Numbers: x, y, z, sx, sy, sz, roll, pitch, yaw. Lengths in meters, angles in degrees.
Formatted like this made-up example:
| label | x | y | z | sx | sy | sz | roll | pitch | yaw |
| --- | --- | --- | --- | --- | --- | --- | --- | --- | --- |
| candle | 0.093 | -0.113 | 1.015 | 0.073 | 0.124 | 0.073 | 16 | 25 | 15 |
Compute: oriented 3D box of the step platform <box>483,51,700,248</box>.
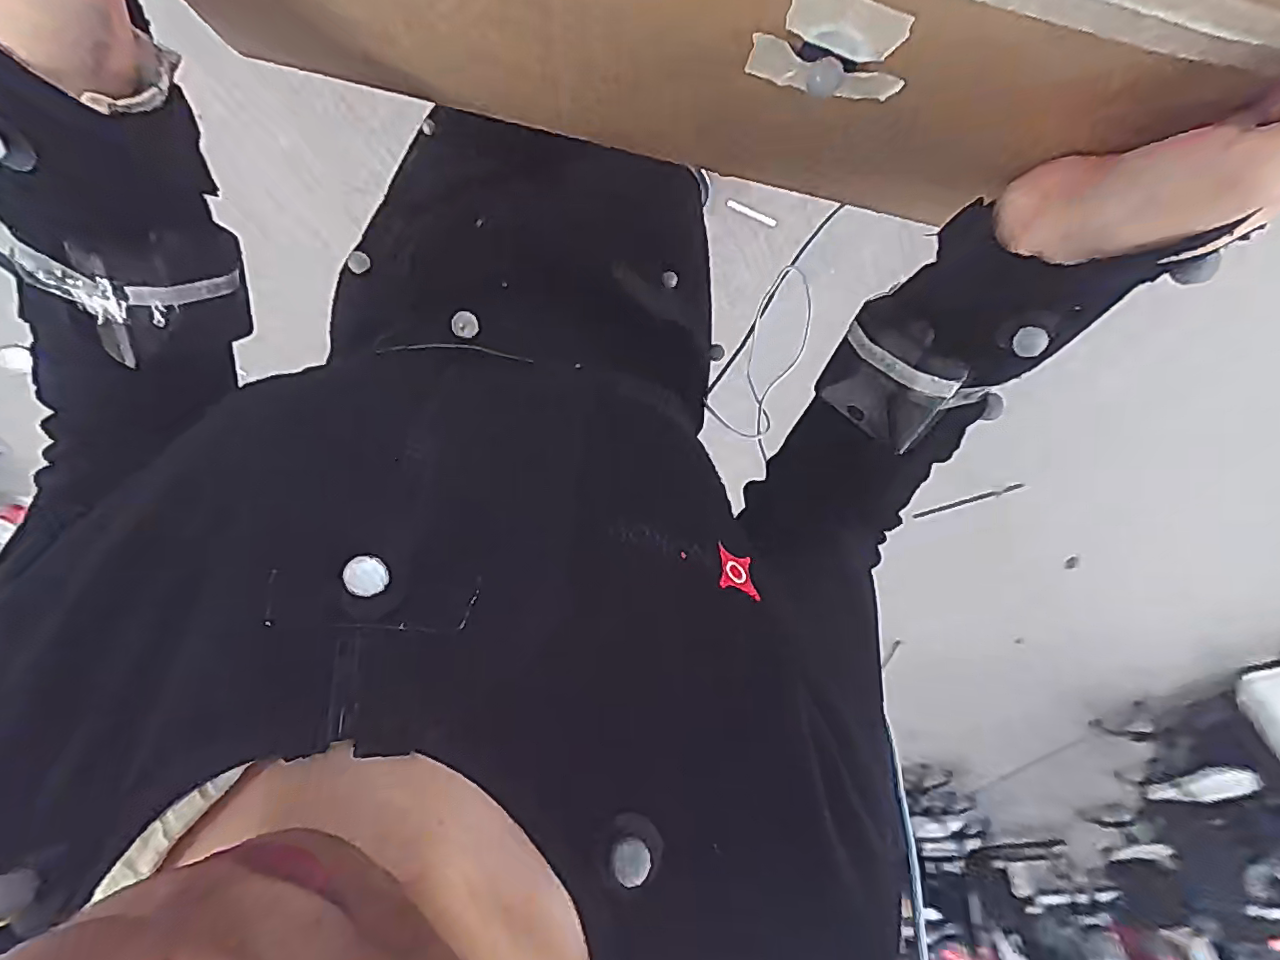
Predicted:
| label | x | y | z | sx | sy | sz | roll | pitch | yaw |
| --- | --- | --- | --- | --- | --- | --- | --- | --- | --- |
| step platform | -0.125 | -0.809 | 1.024 | 0.286 | 0.204 | 0.684 | -18 | 132 | 17 |
